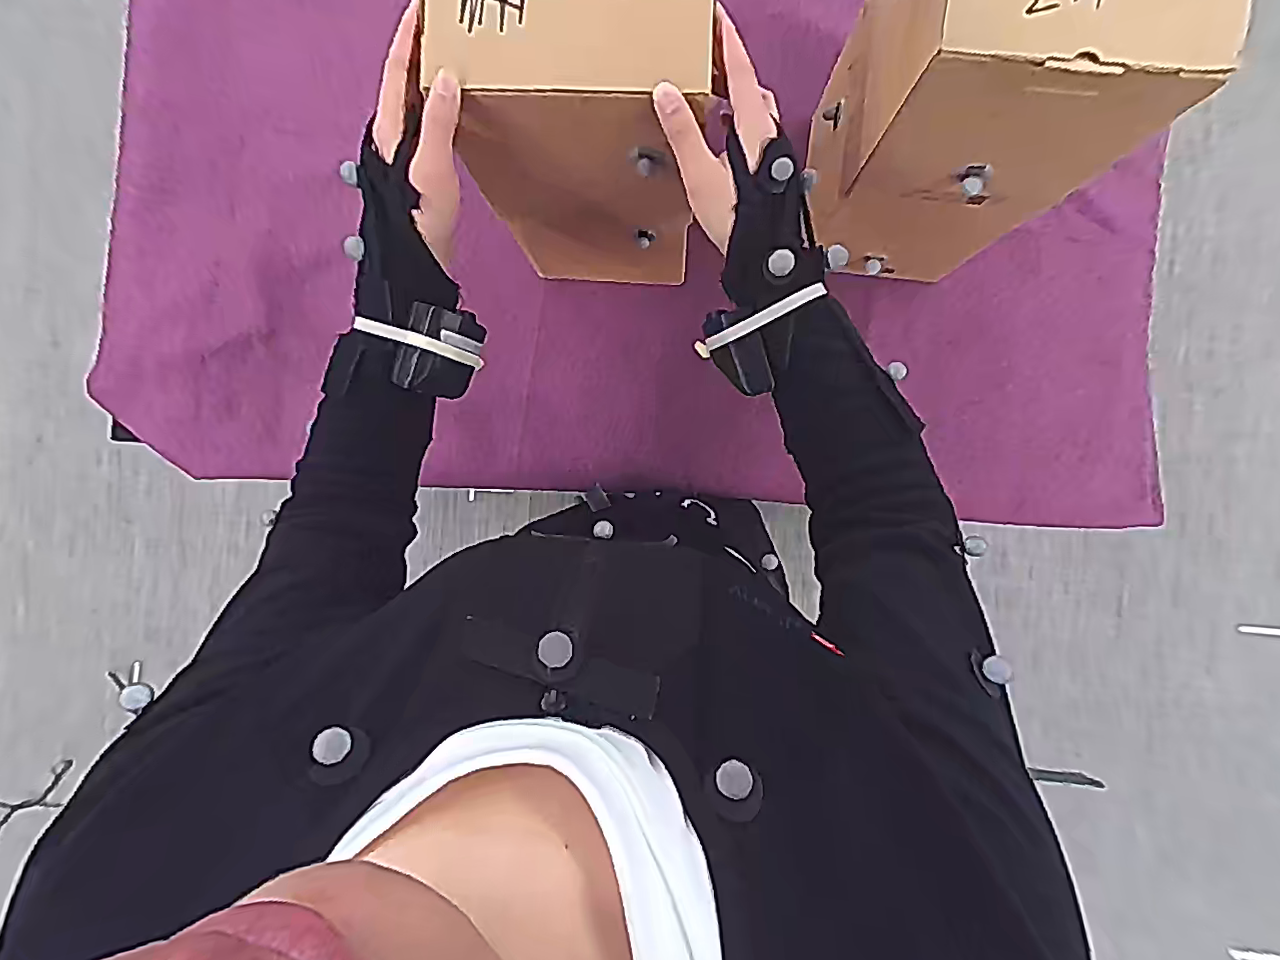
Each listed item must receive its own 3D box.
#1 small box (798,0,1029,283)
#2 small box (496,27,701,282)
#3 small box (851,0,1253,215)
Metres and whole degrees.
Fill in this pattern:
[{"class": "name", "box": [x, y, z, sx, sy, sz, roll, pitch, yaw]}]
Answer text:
[{"class": "small box", "box": [0.268, -0.323, 0.546, 0.168, 0.176, 0.179, 8, 91, 2]}, {"class": "small box", "box": [-0.034, -0.318, 0.560, 0.179, 0.176, 0.168, 4, 90, 2]}, {"class": "small box", "box": [0.265, -0.320, 0.381, 0.168, 0.176, 0.179, 7, 91, 3]}]
